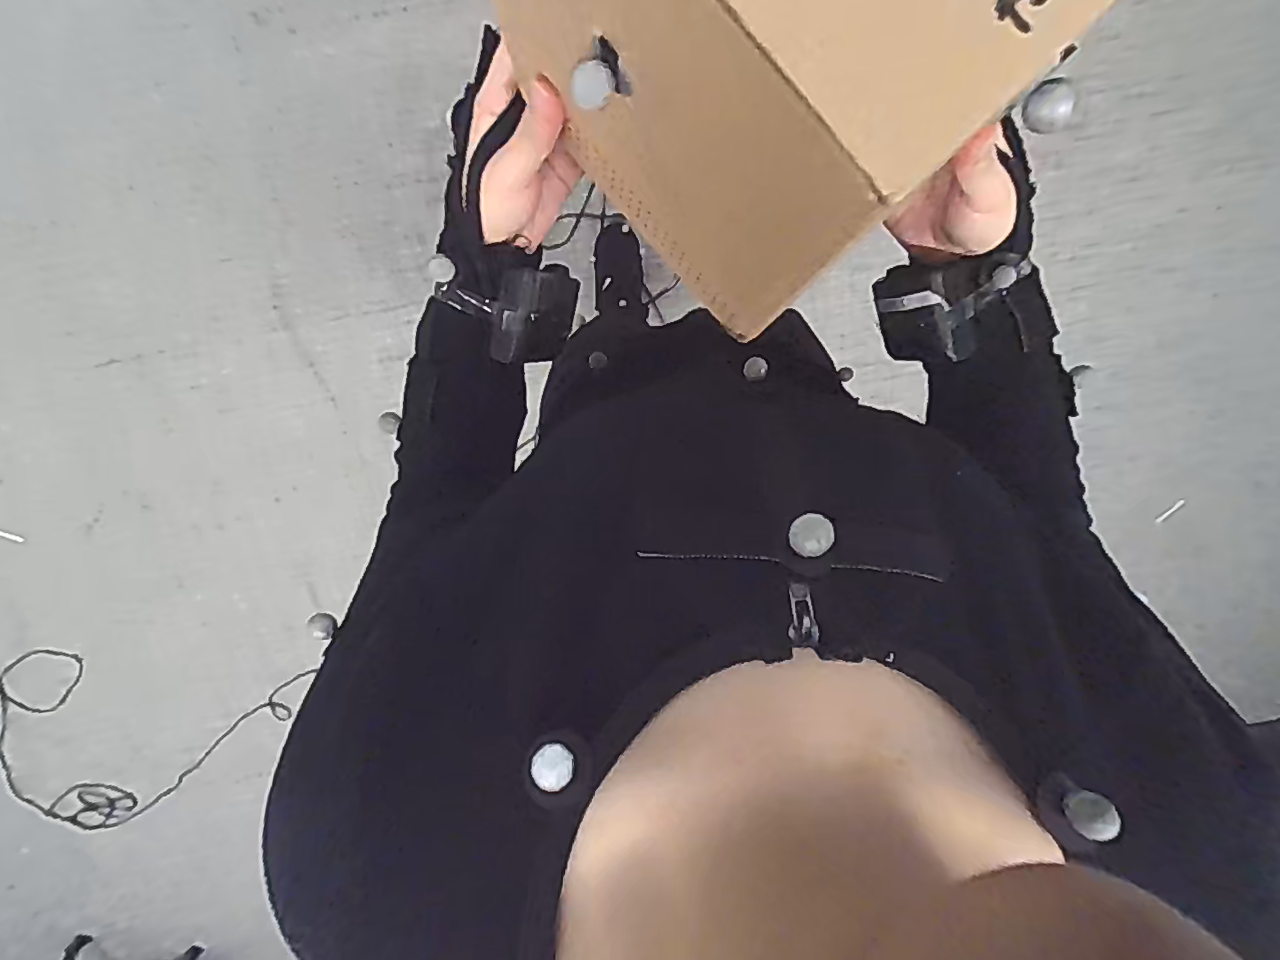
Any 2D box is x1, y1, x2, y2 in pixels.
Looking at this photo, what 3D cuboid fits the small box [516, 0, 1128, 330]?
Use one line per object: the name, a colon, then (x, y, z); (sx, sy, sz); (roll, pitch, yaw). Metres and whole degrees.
small box: (0.061, -0.186, 0.212); (0.168, 0.176, 0.179); (-43, 92, 2)
